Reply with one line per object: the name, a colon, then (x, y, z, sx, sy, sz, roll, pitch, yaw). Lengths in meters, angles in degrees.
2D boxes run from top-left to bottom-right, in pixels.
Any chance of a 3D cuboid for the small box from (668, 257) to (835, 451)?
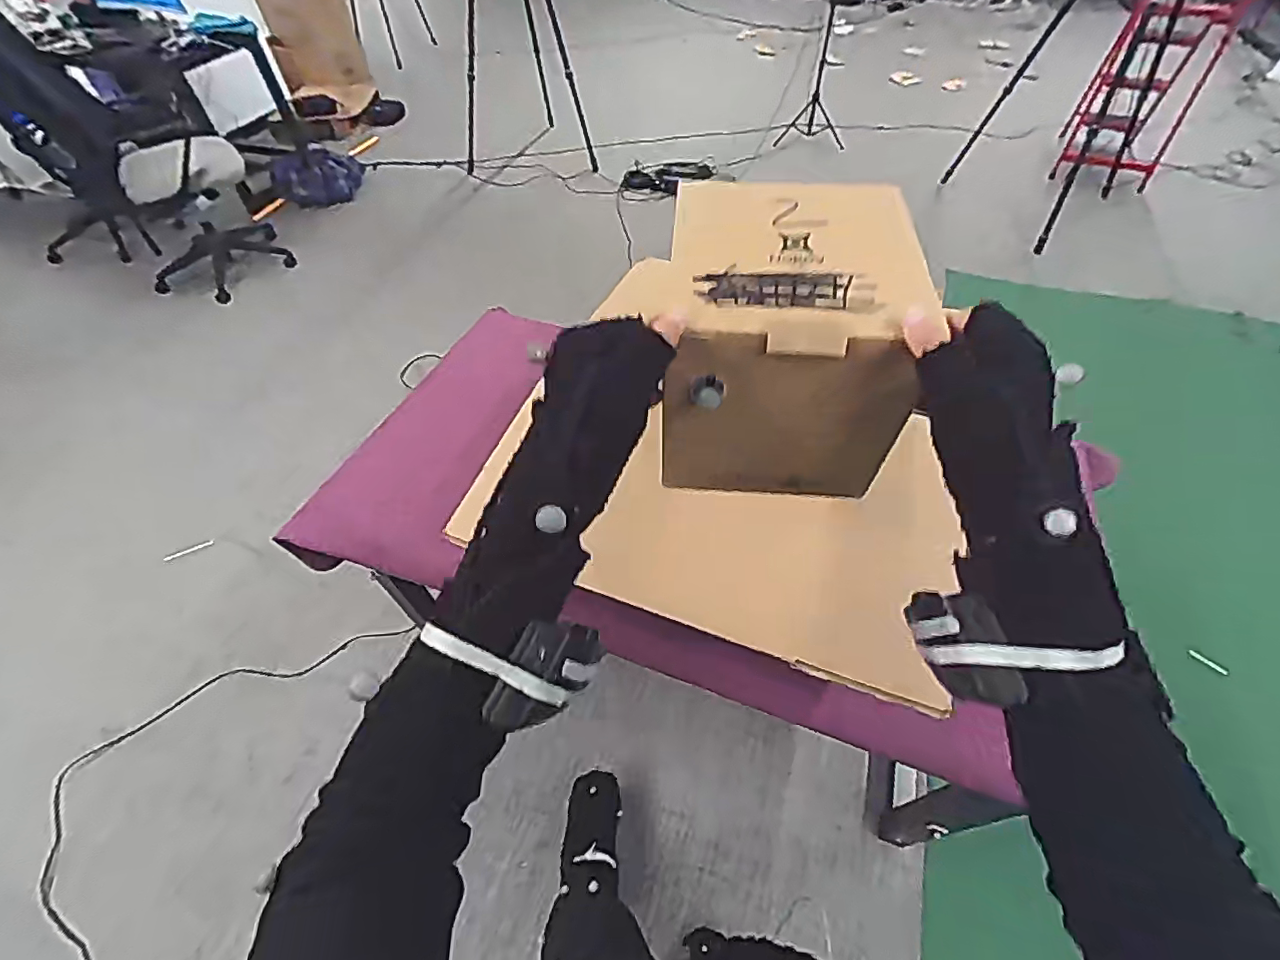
small box: (0.144, -0.165, 0.720, 0.168, 0.176, 0.179, 17, 53, 15)
